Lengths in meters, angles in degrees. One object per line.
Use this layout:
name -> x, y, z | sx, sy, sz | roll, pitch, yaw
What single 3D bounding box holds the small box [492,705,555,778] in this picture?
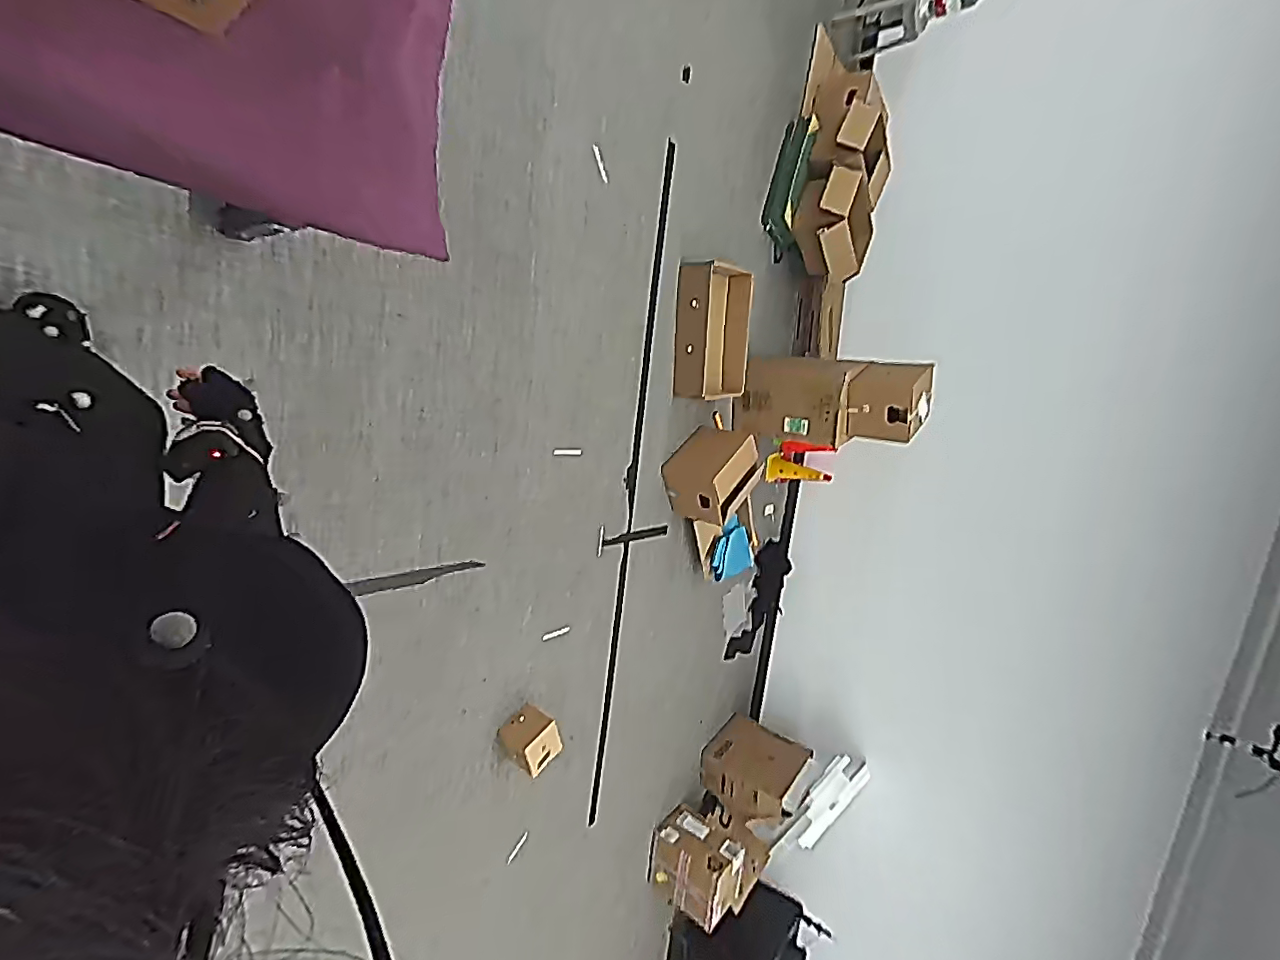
small box -> -0.478, 1.063, 2.212 | 0.168, 0.176, 0.179 | -35, 127, -42
